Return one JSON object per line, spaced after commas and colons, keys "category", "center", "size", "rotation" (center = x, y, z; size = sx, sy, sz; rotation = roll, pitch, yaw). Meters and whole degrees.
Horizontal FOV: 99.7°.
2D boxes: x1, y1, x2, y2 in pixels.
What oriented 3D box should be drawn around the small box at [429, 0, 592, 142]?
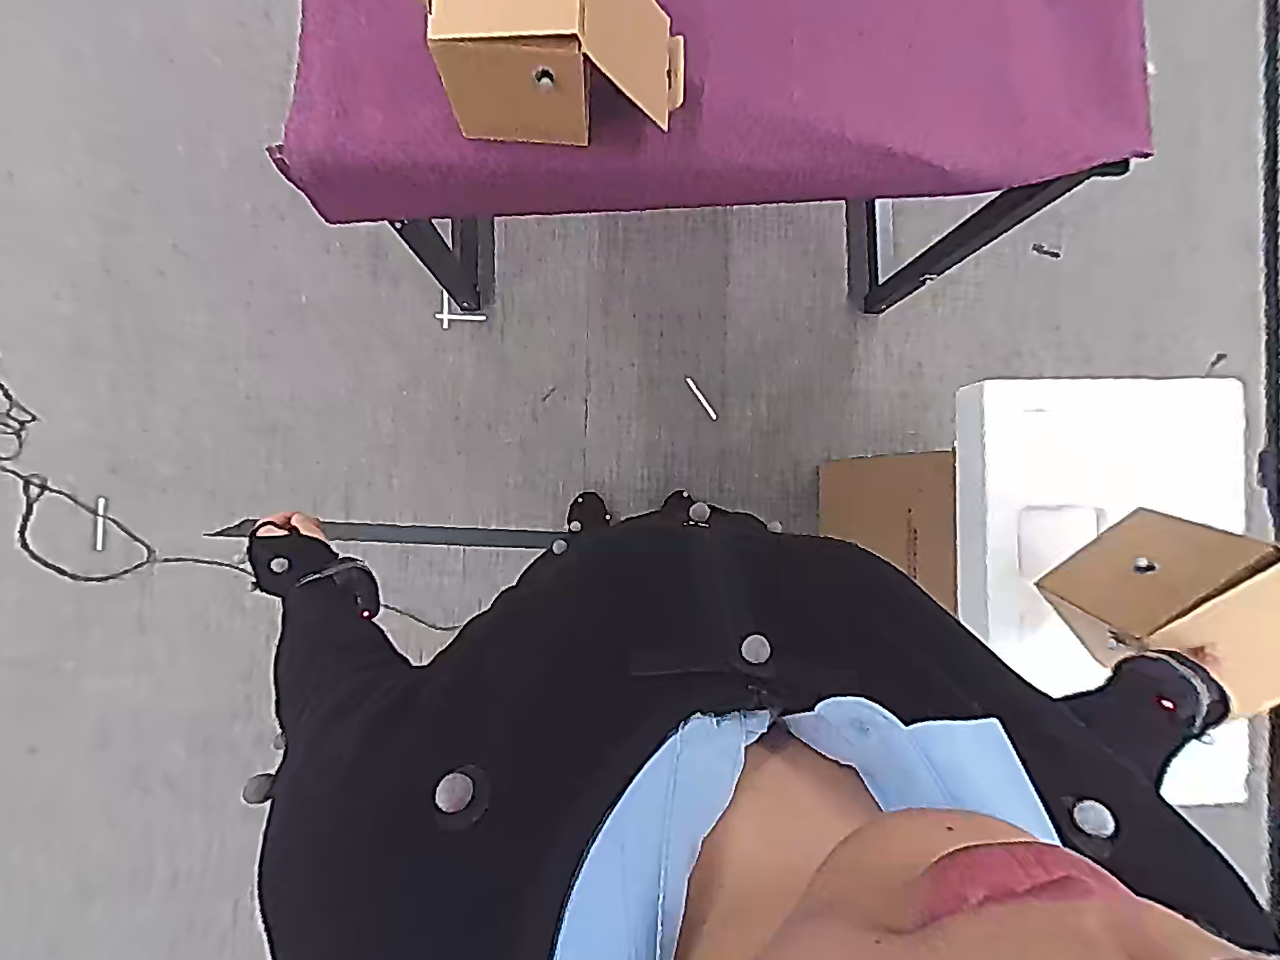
{"category": "small box", "center": [-0.152, -0.568, 0.694], "size": [0.179, 0.176, 0.168], "rotation": [2, 87, -3]}
